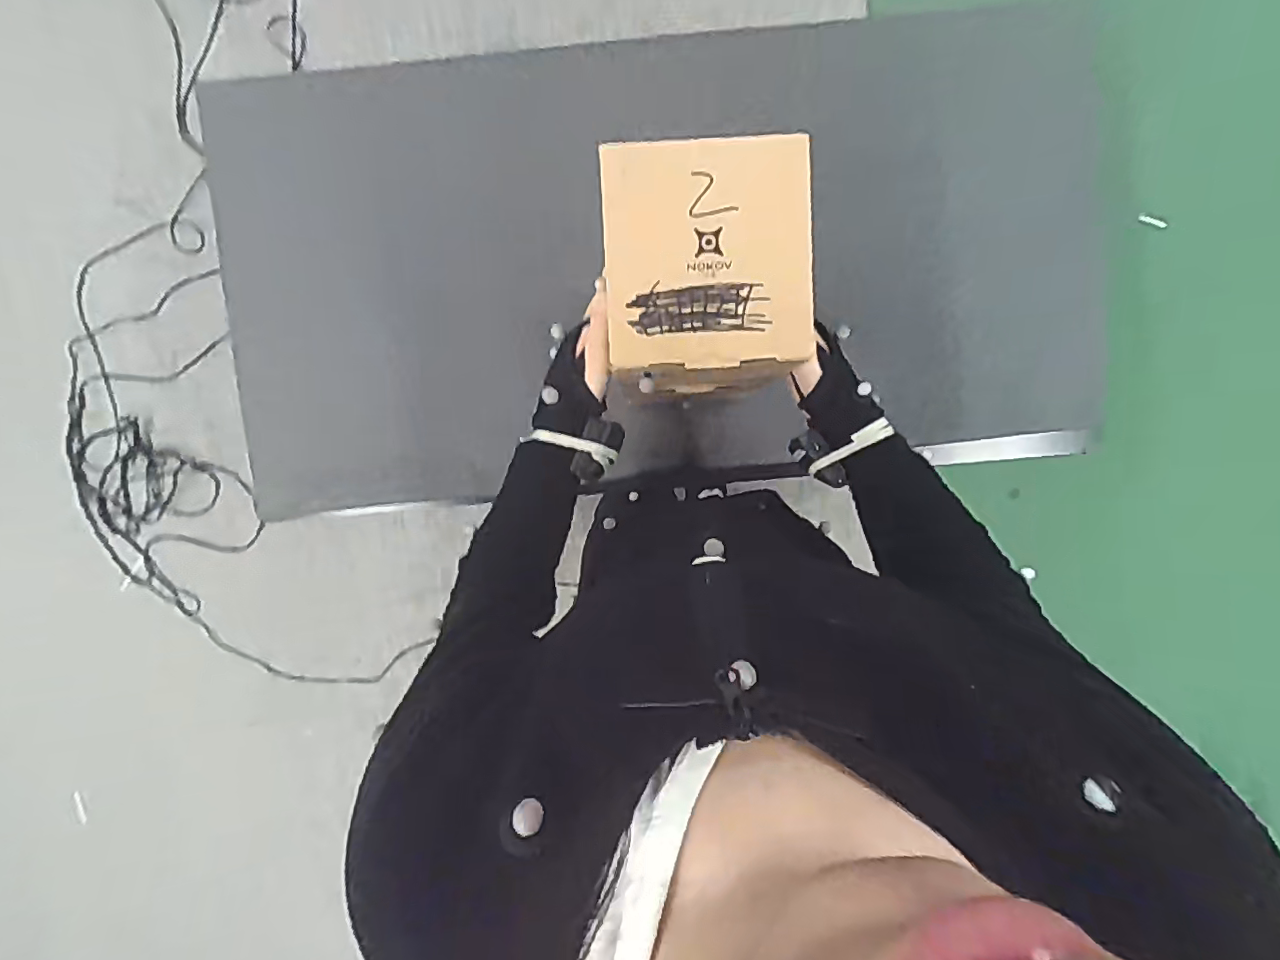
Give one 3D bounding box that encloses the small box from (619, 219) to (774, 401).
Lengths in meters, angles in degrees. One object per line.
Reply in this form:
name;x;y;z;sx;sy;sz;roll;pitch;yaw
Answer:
small box;0.062;-0.195;0.667;0.168;0.176;0.179;-4;94;1
